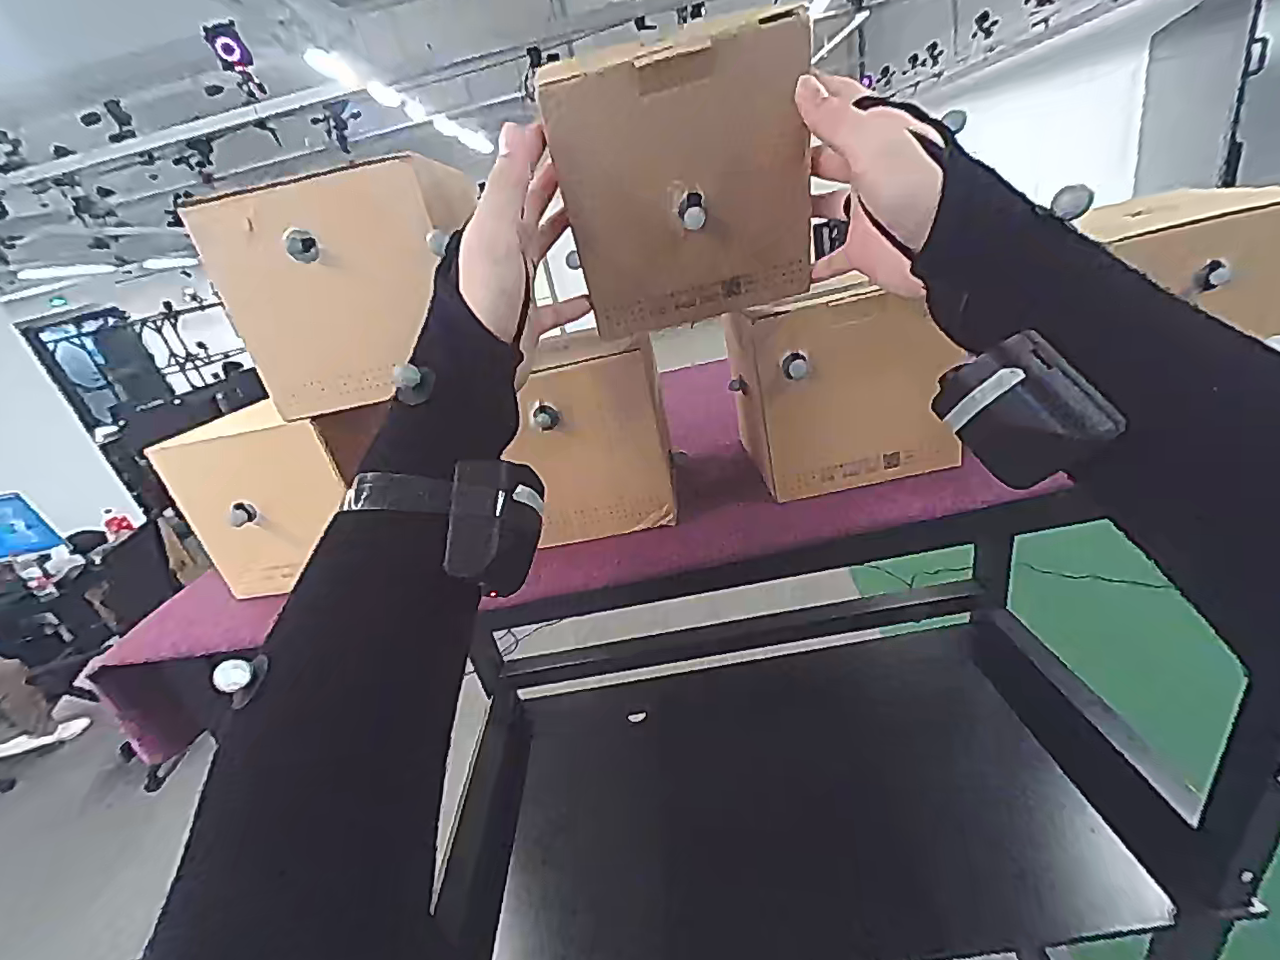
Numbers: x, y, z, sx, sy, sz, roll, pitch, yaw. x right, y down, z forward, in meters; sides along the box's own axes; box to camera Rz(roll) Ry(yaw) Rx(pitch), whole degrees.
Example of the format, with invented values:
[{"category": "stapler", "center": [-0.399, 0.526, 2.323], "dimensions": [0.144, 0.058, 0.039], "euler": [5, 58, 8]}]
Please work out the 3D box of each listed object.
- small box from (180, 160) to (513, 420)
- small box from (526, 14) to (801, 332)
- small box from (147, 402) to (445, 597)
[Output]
[{"category": "small box", "center": [-0.234, -0.163, 0.487], "dimensions": [0.179, 0.176, 0.168], "euler": [-11, 24, 3]}, {"category": "small box", "center": [0.021, -0.234, 0.426], "dimensions": [0.168, 0.176, 0.179], "euler": [-14, 40, 4]}, {"category": "small box", "center": [-0.332, 0.008, 0.568], "dimensions": [0.168, 0.176, 0.179], "euler": [-10, 23, 8]}]
